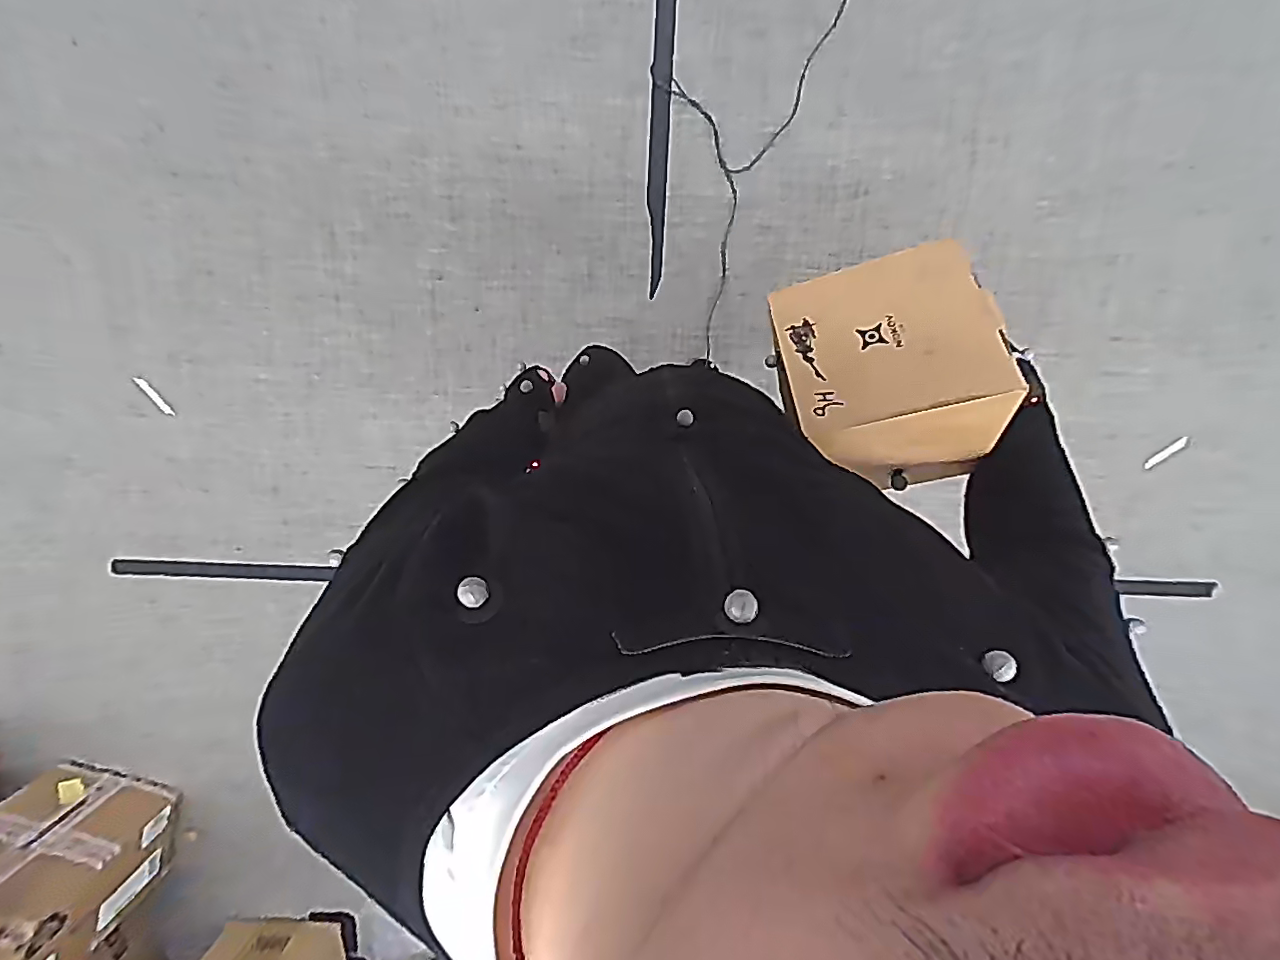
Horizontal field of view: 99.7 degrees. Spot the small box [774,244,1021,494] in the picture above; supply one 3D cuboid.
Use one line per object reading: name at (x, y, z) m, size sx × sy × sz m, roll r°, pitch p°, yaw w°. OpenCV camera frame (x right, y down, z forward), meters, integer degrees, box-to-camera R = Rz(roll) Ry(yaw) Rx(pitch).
small box at (0.244, -0.101, 0.560) m, size 0.179 × 0.176 × 0.168 m, roll -12°, pitch 63°, yaw 13°
